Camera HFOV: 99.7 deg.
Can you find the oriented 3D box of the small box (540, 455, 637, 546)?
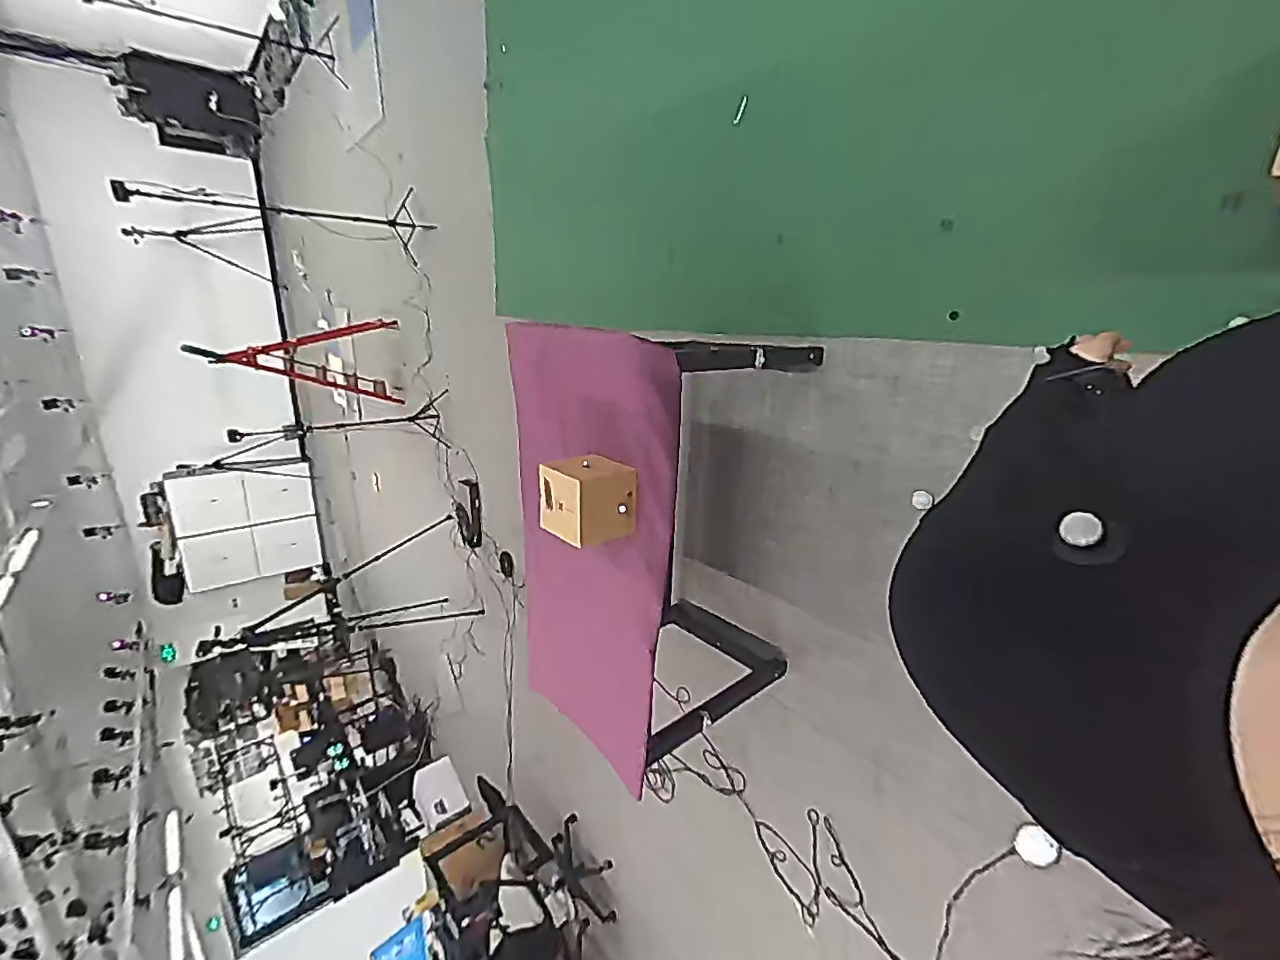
[{"bbox_3d":[-0.127,0.041,1.310,0.179,0.176,0.168,20,115,46],"label":"small box"}]
